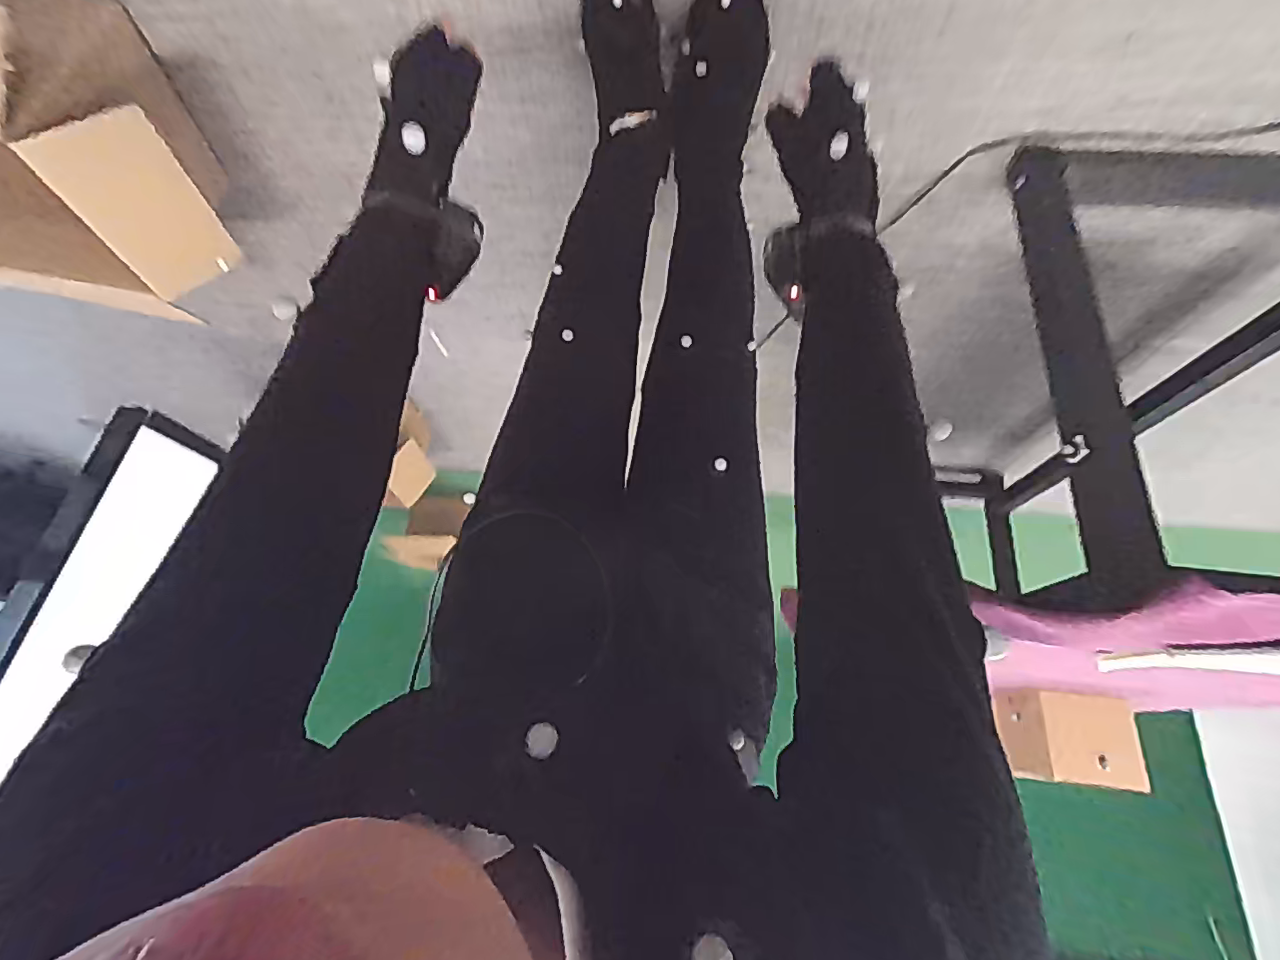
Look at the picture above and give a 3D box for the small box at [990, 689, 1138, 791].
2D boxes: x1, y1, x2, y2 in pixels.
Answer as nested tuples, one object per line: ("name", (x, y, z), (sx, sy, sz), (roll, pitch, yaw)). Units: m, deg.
("small box", (0.878, 0.539, 1.139), (0.179, 0.176, 0.168), (6, 156, 5))
